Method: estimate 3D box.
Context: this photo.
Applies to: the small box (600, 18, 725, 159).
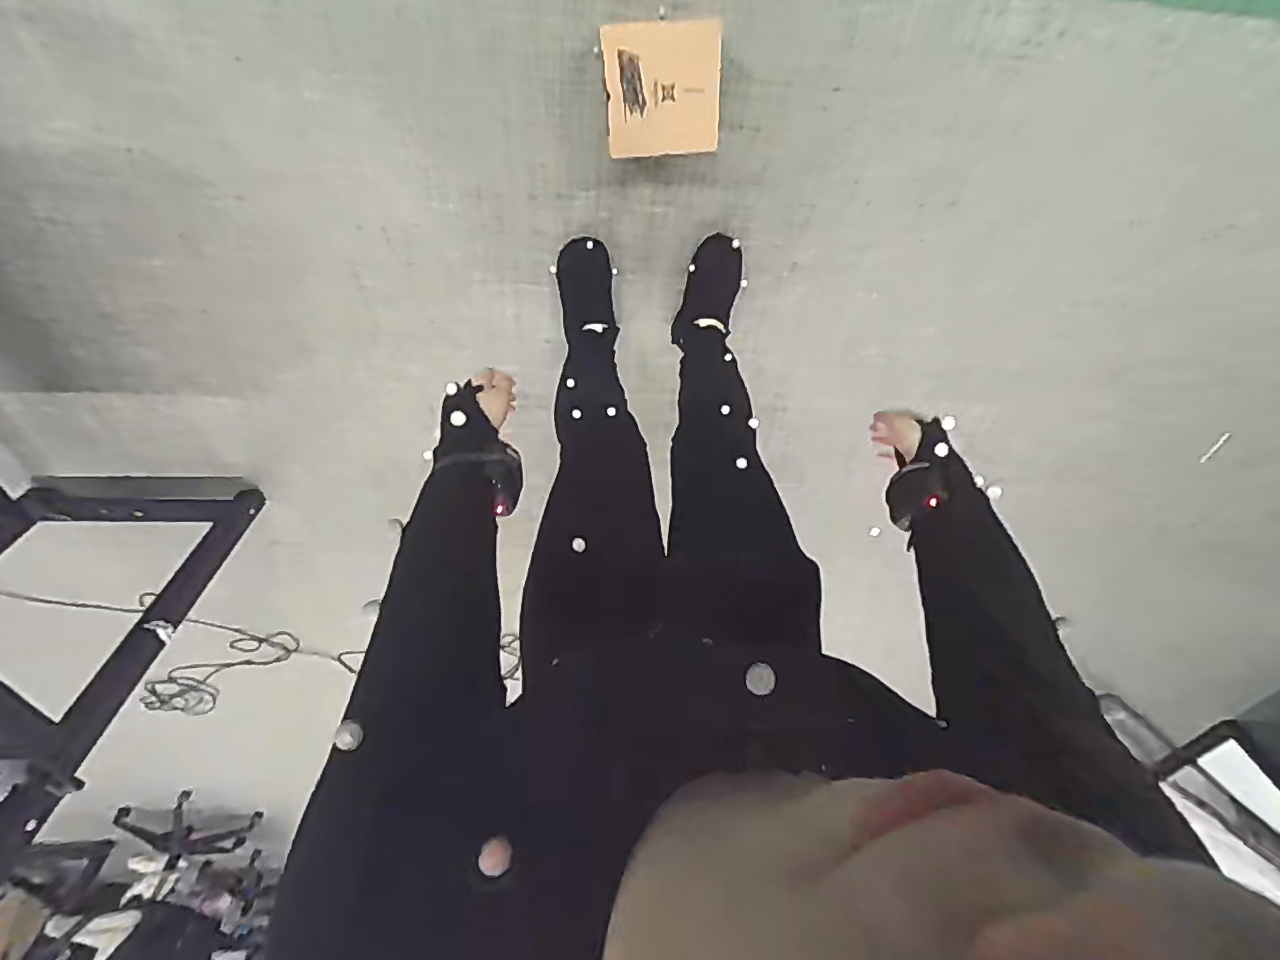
[{"bbox_3d":[0.032,-0.622,0.860,0.179,0.176,0.168,-5,131,-1],"label":"small box"}]
